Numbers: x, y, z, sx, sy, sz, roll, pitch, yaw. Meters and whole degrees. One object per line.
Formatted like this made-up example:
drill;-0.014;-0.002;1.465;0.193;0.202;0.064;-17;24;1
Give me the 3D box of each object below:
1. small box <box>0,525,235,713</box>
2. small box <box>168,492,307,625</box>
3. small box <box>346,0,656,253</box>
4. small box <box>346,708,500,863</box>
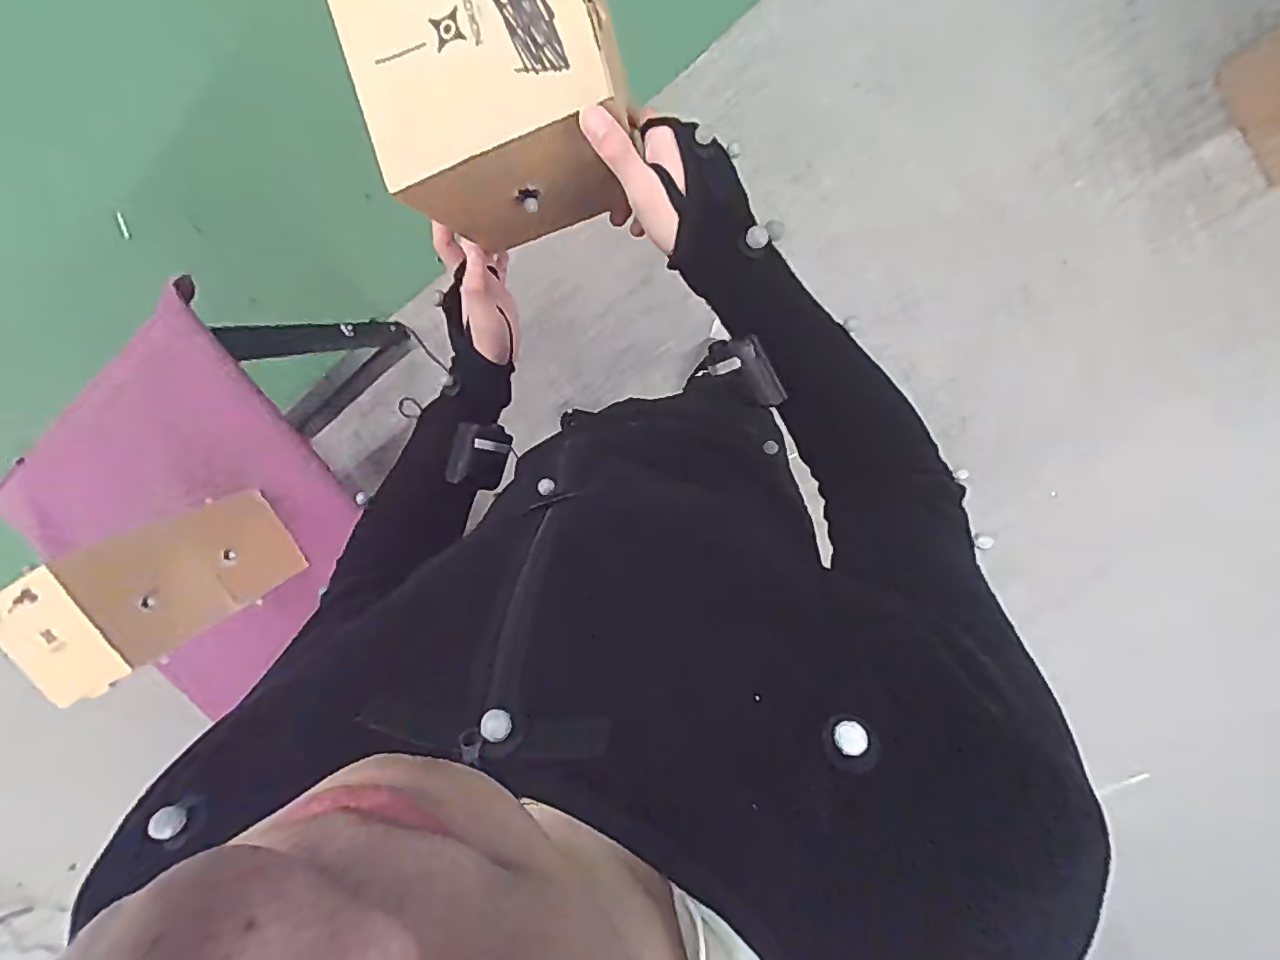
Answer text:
small box;-0.757;0.195;0.791;0.168;0.176;0.179;-26;104;14
small box;-0.737;0.146;0.946;0.168;0.176;0.179;-23;103;14
small box;-0.091;-0.308;0.438;0.179;0.176;0.168;-15;96;13
small box;-0.405;0.570;1.034;0.168;0.176;0.179;-38;100;17
